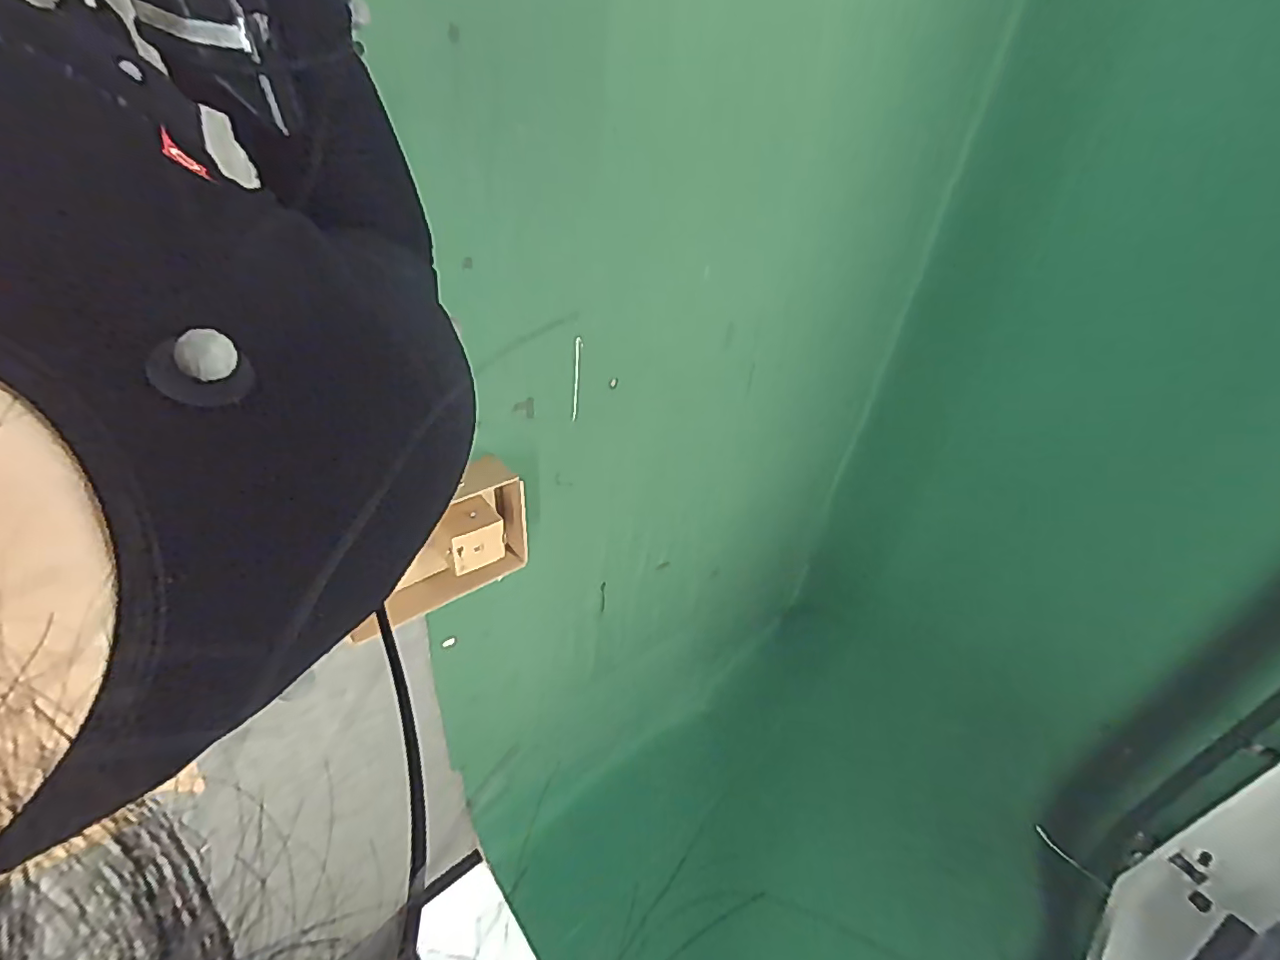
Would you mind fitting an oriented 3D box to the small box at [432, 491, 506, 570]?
[{"bbox_3d":[-0.563,0.159,1.788,0.179,0.176,0.168,-22,135,-34],"label":"small box"}]

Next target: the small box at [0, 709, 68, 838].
[{"bbox_3d":[-1.337,0.616,1.116,0.168,0.176,0.179,-25,135,-36],"label":"small box"}]
